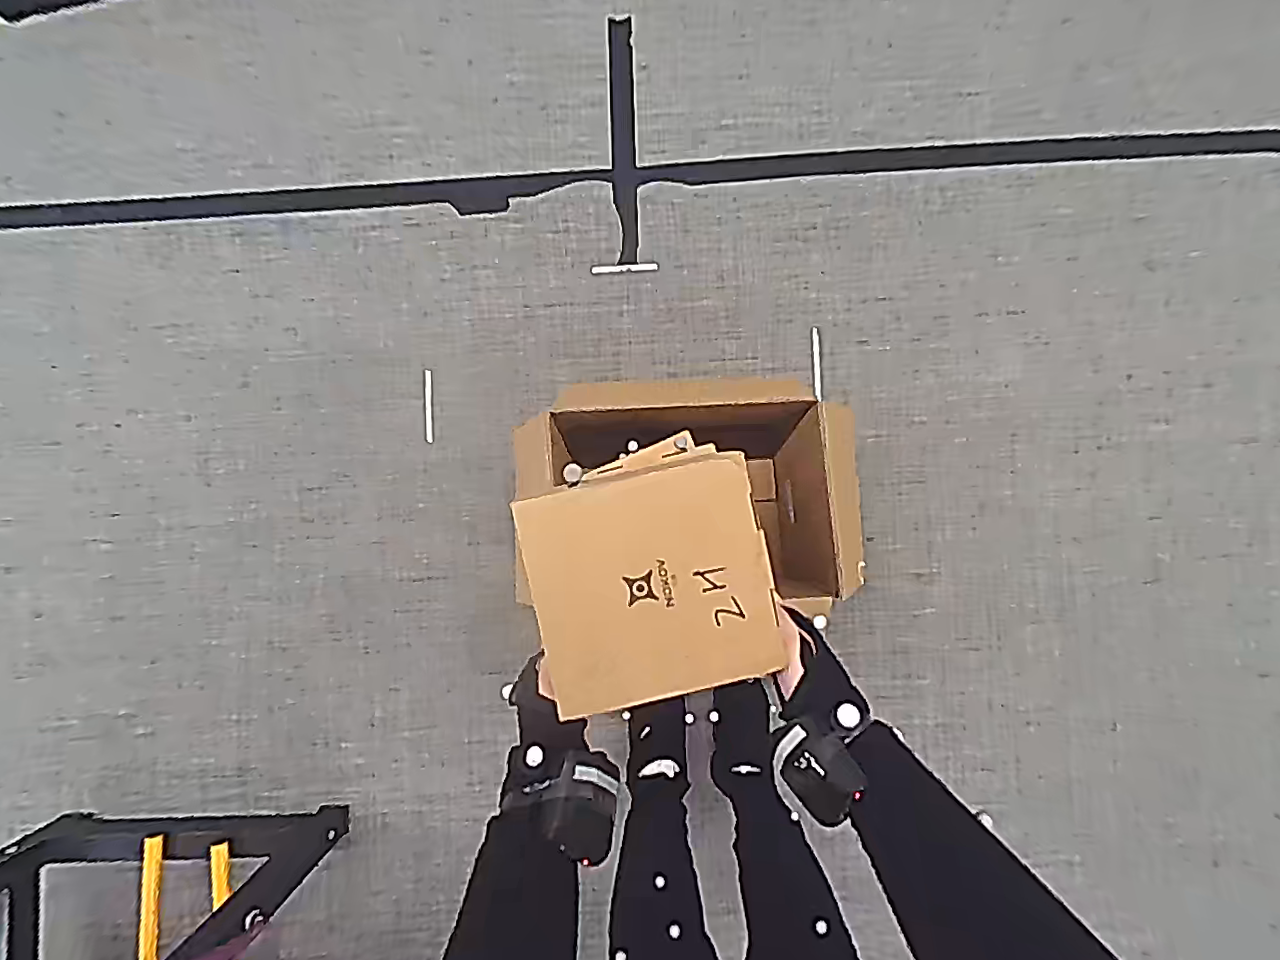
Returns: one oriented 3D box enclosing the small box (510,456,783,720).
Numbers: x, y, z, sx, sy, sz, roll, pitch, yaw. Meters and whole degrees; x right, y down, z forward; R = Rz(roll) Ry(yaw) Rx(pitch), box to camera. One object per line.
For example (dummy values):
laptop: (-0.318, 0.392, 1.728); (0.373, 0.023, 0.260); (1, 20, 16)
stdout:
small box: (0.003, 0.077, 0.473); (0.179, 0.176, 0.168); (-12, 93, -3)

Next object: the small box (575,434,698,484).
small box: (0.015, 0.042, 0.839); (0.179, 0.176, 0.168); (-24, 91, -4)
